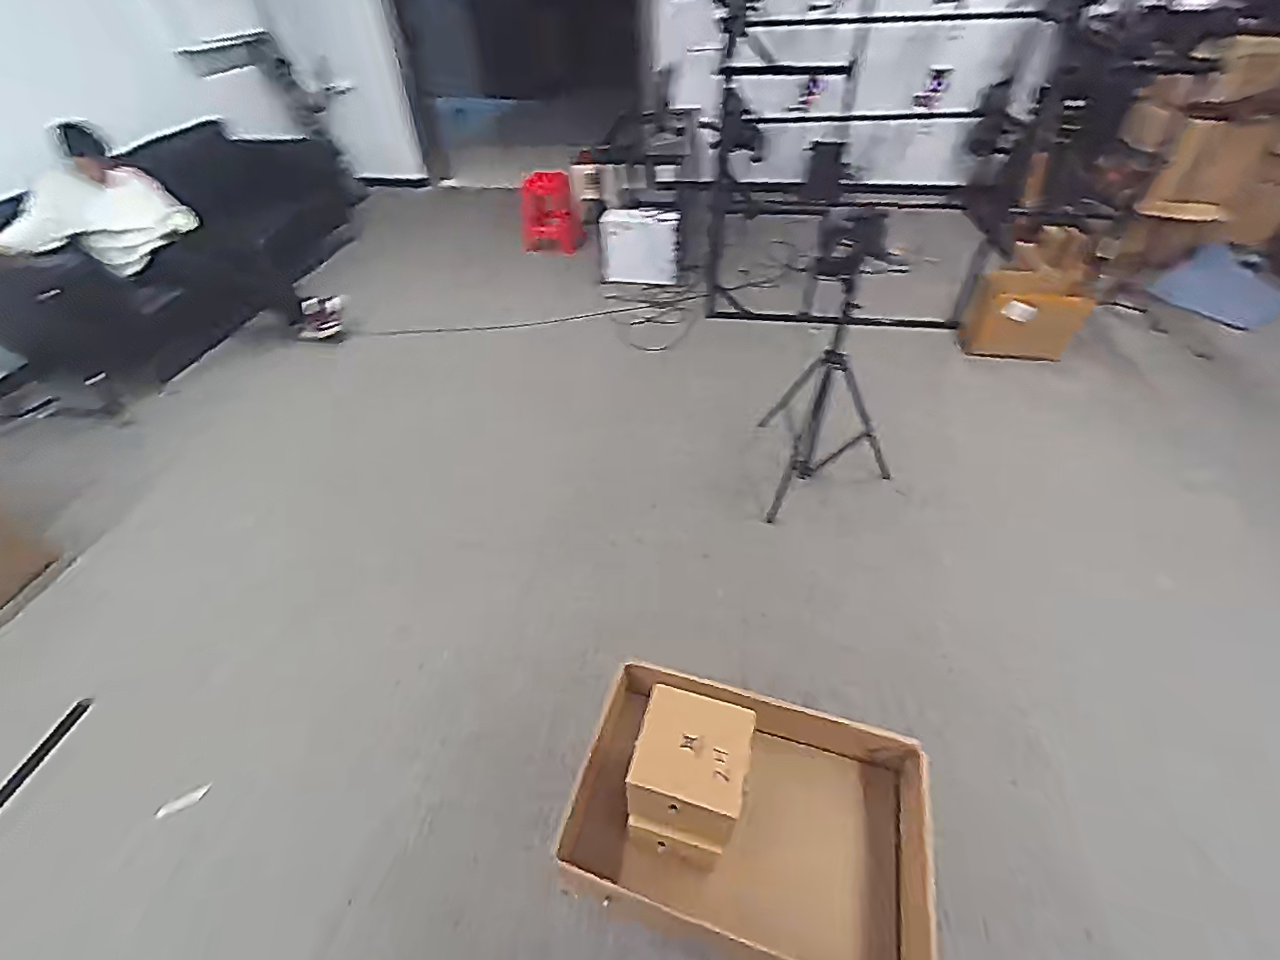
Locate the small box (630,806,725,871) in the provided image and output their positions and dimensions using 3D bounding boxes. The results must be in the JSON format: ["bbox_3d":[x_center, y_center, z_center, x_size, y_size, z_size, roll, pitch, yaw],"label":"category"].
[{"bbox_3d":[0.087,0.597,1.014,0.168,0.176,0.179,12,45,13],"label":"small box"}]

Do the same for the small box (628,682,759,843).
[{"bbox_3d":[0.089,0.474,0.904,0.179,0.176,0.168,13,46,14],"label":"small box"}]
